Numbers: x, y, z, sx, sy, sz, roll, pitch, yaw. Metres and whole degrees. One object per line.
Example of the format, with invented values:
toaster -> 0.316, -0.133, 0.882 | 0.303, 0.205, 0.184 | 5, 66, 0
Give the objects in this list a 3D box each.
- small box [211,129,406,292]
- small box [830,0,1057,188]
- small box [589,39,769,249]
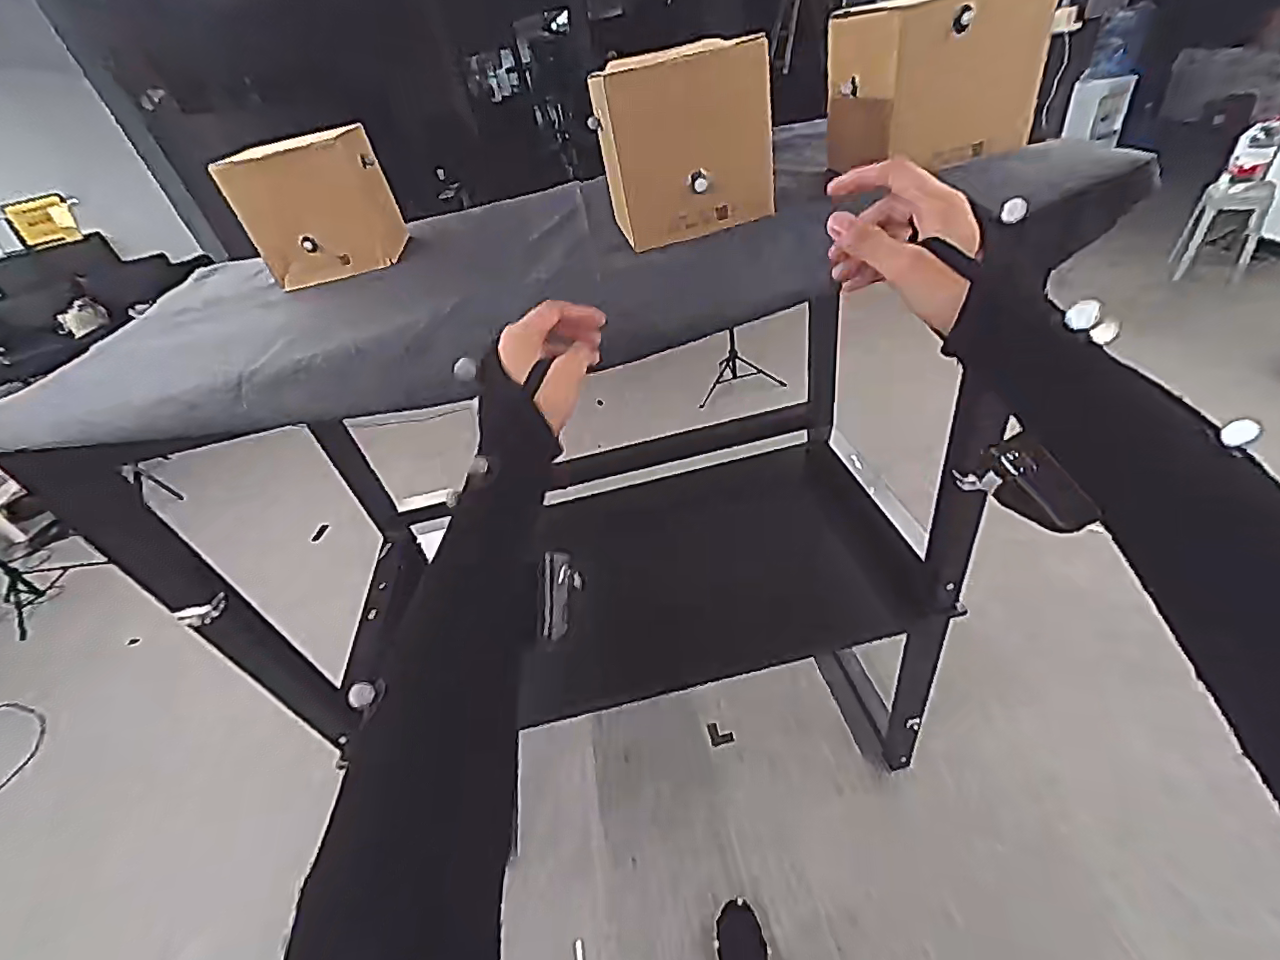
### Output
small box -> -0.469, -0.400, 0.803 | 0.168, 0.176, 0.179 | -15, 40, -2
small box -> 0.334, -0.460, 0.637 | 0.168, 0.176, 0.179 | -14, 37, 1
small box -> 0.043, -0.387, 0.633 | 0.168, 0.176, 0.179 | -15, 37, -1
